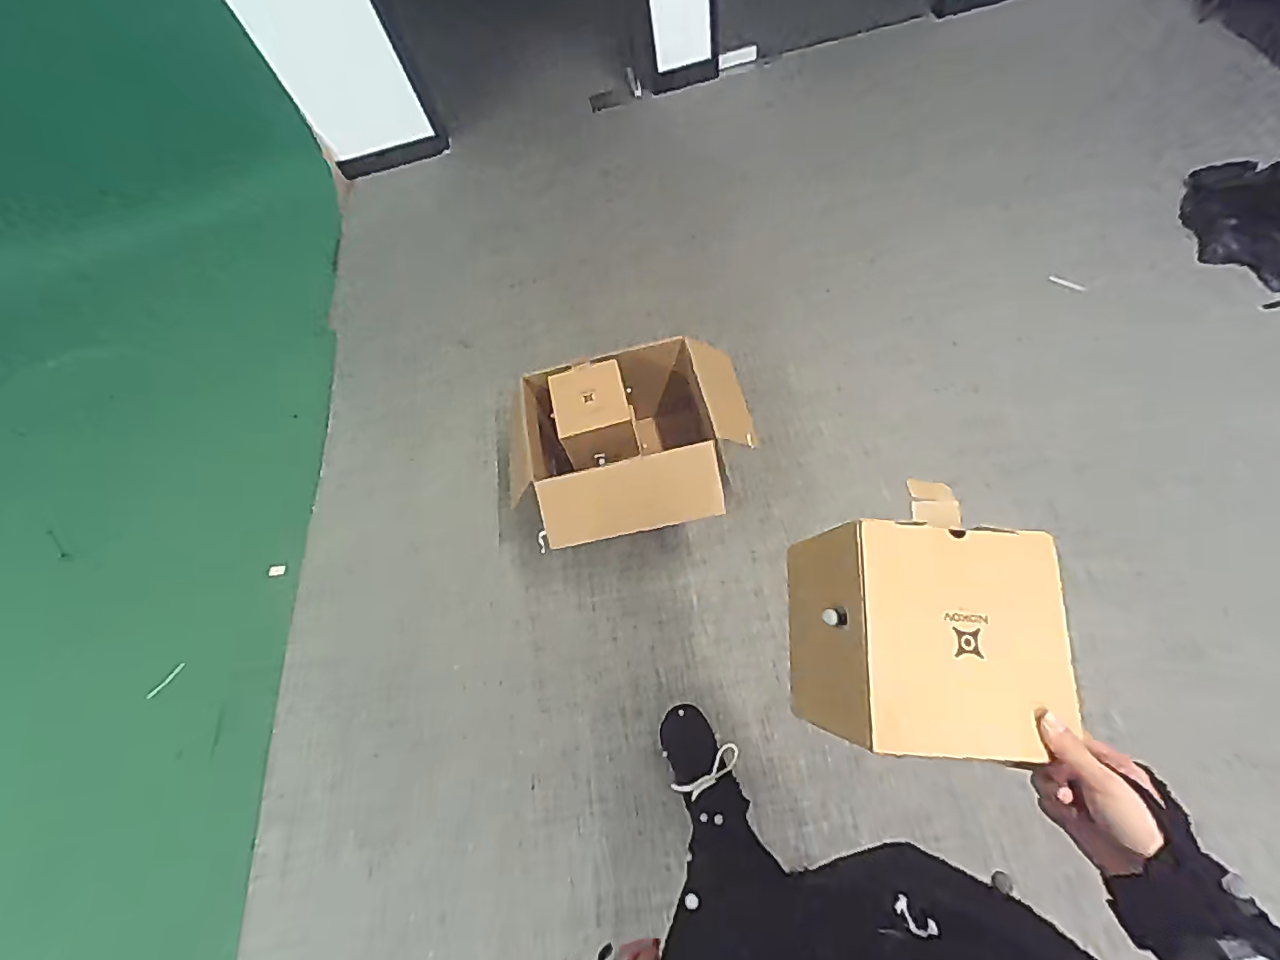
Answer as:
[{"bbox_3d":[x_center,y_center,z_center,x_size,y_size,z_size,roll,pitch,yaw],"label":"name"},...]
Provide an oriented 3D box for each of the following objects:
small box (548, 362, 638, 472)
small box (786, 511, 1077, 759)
[{"bbox_3d":[-0.107,-0.144,1.270,0.168,0.176,0.179,-14,63,1],"label":"small box"},{"bbox_3d":[0.240,0.136,0.493,0.168,0.176,0.179,5,74,-3],"label":"small box"}]
